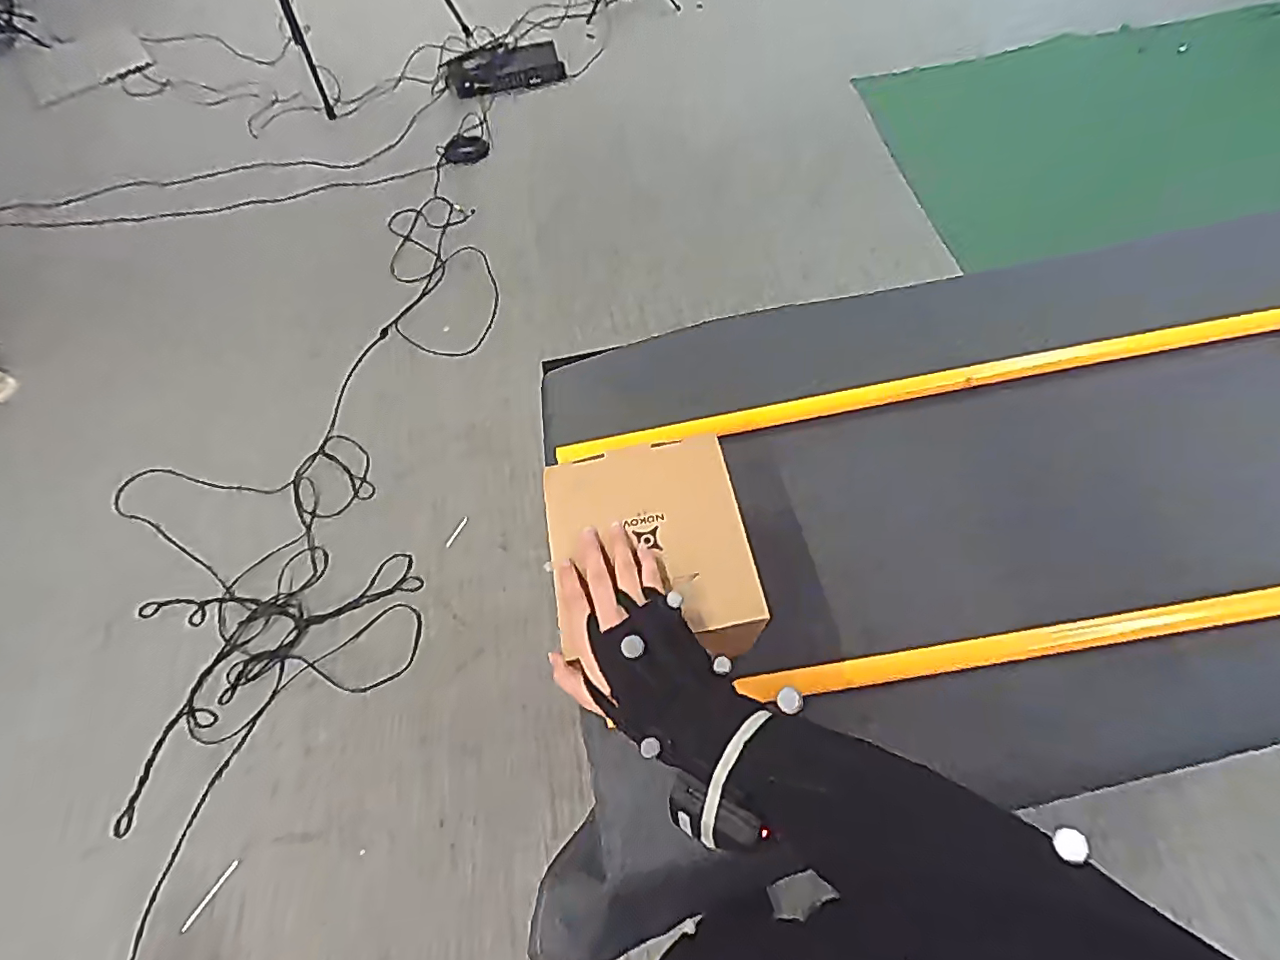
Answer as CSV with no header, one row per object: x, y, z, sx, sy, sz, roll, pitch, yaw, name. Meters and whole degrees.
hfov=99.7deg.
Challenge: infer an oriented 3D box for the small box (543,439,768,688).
0.011,0.088,0.525,0.168,0.176,0.179,-12,62,0,small box
